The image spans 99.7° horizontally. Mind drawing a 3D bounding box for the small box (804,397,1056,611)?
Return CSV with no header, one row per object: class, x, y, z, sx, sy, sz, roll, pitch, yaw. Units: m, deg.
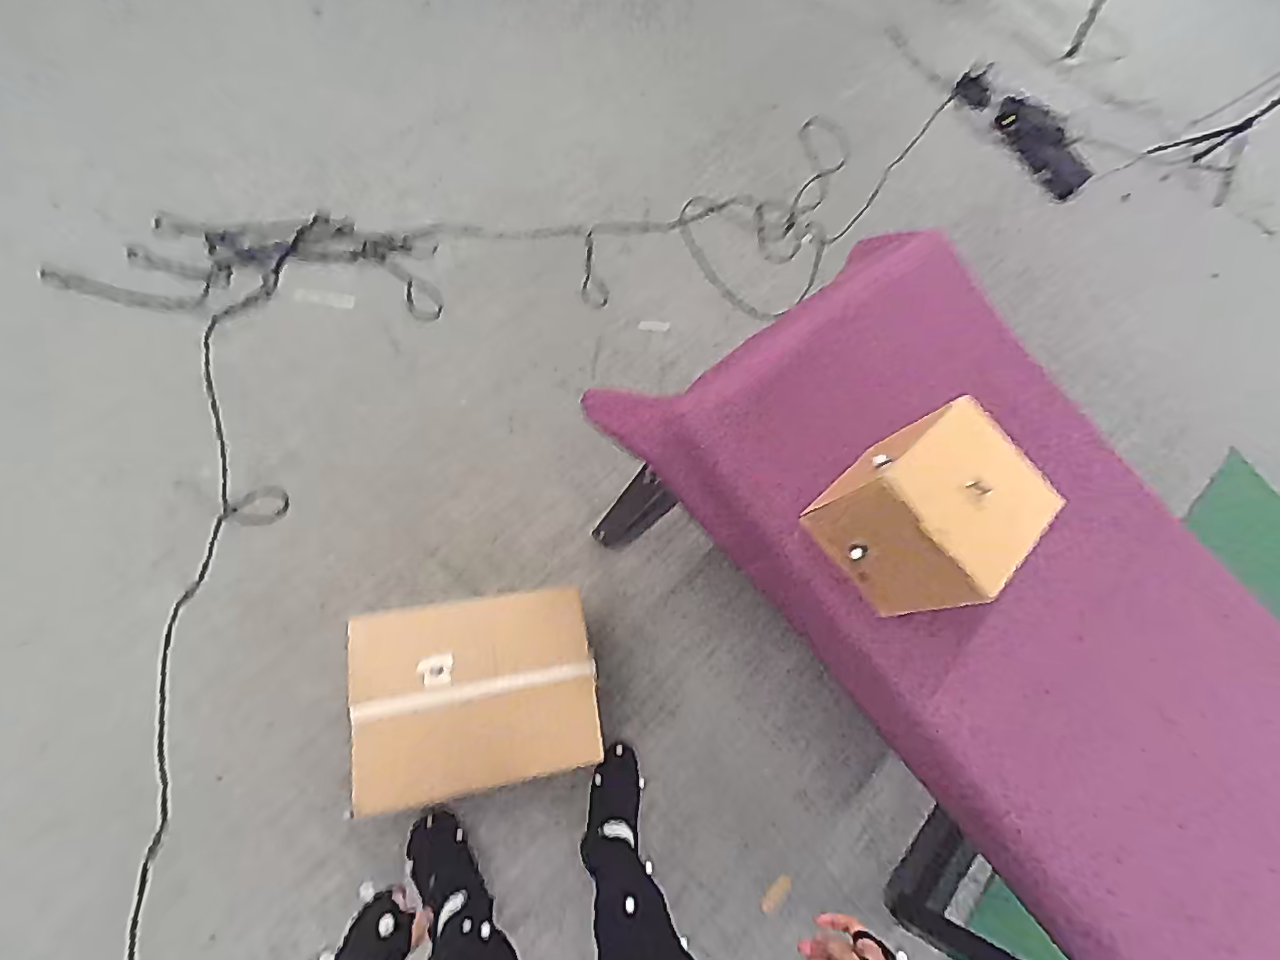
small box,0.336,0.037,0.653,0.179,0.176,0.168,-38,84,-24
